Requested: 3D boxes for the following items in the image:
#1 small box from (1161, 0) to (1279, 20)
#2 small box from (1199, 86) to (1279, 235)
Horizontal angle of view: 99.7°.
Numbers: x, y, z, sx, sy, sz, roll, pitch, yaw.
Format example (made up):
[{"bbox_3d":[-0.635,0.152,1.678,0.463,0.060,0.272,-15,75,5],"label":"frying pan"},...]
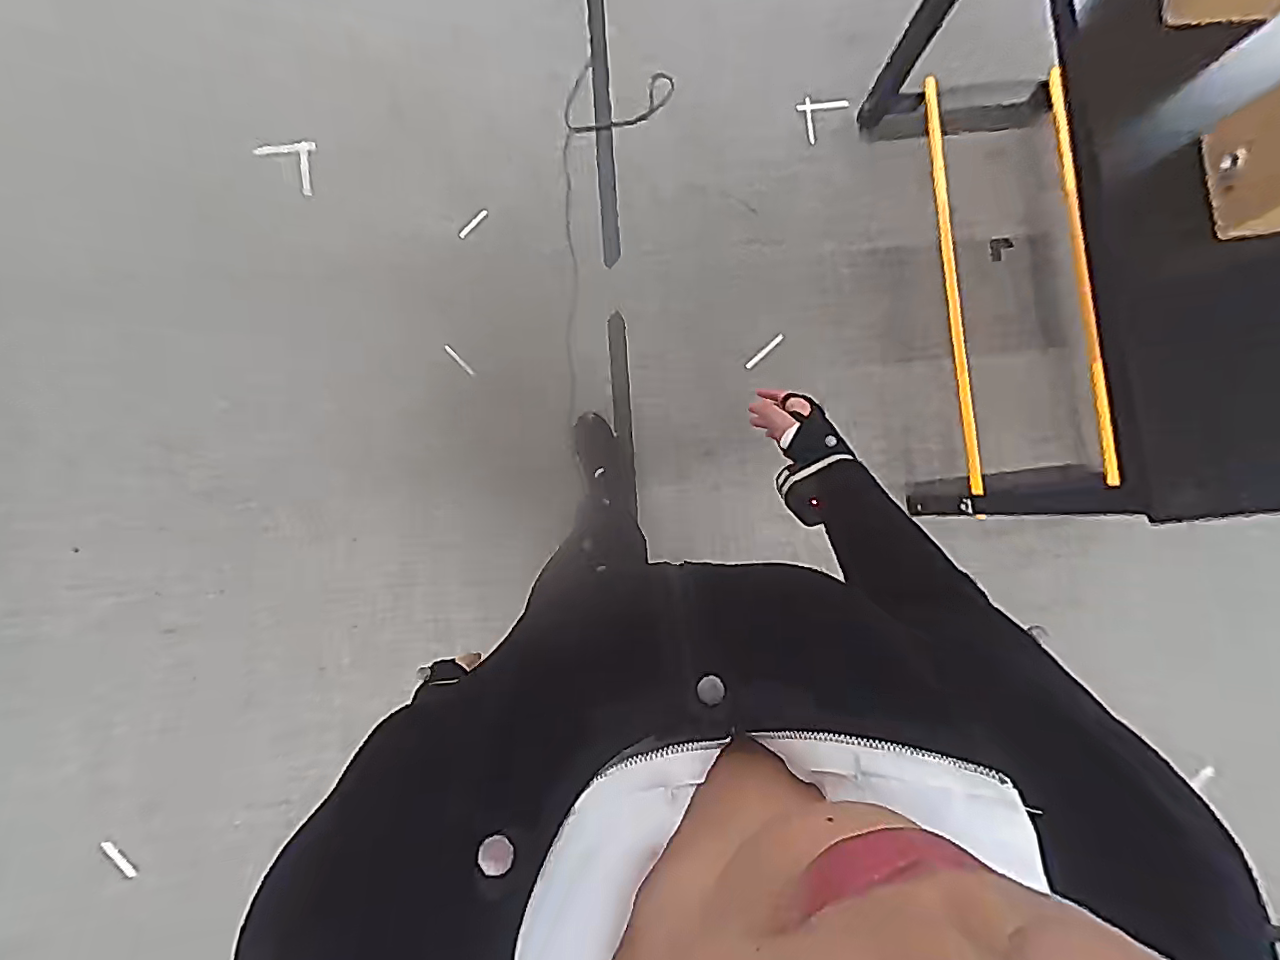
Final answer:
[{"bbox_3d":[0.887,-0.794,0.756,0.179,0.176,0.168,-4,86,-1],"label":"small box"},{"bbox_3d":[0.942,-0.460,0.737,0.179,0.176,0.168,-7,85,-1],"label":"small box"}]
